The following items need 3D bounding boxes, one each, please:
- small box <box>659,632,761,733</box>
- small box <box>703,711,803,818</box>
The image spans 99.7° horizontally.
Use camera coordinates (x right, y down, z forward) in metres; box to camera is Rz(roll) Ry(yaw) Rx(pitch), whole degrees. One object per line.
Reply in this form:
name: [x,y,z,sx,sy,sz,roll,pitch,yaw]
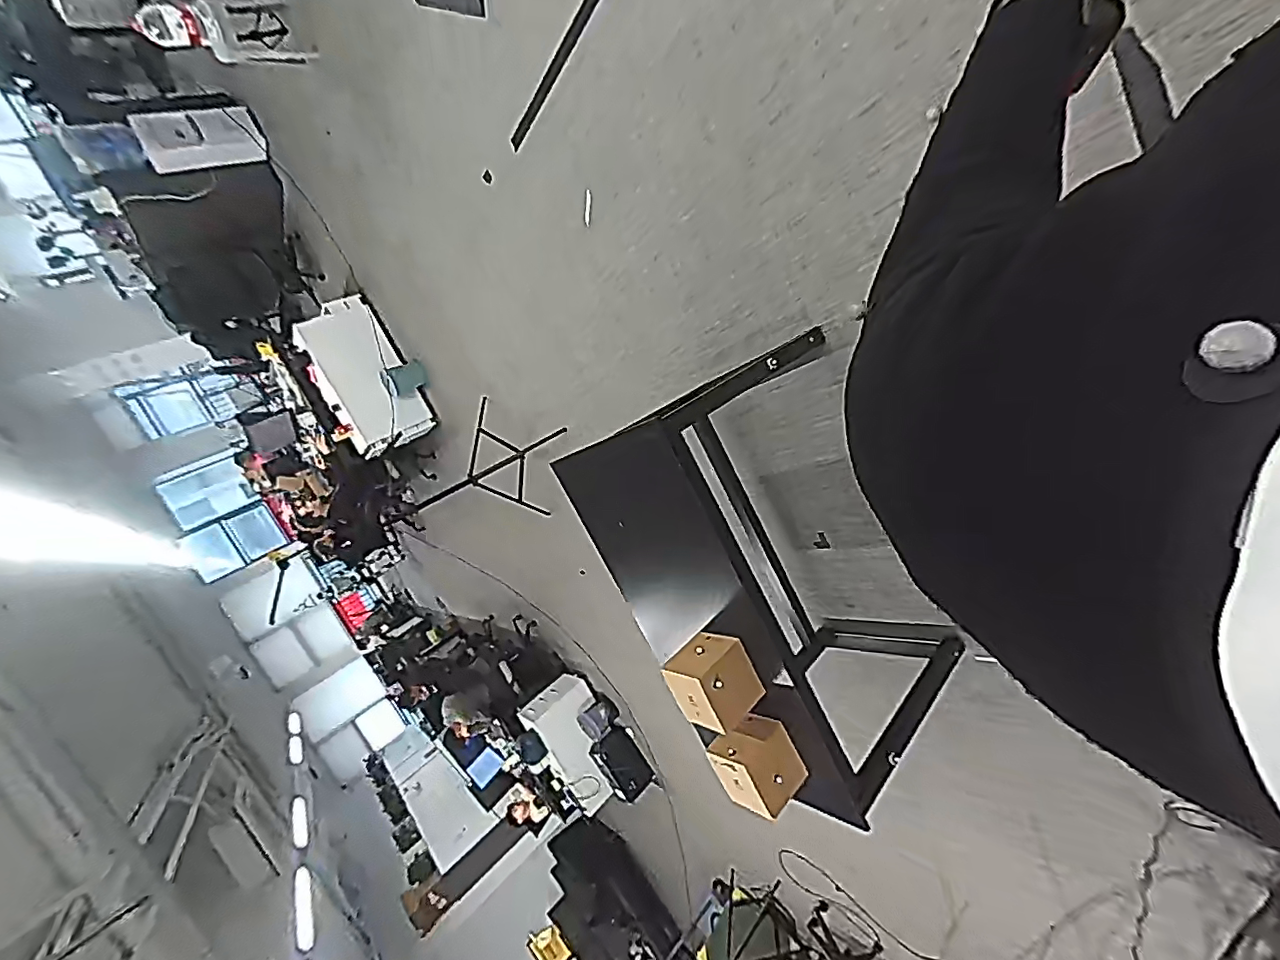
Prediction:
small box: [0.189,0.531,1.445,0.168,0.176,0.179,-12,108,56]
small box: [0.314,0.771,1.485,0.168,0.176,0.179,-18,102,57]
